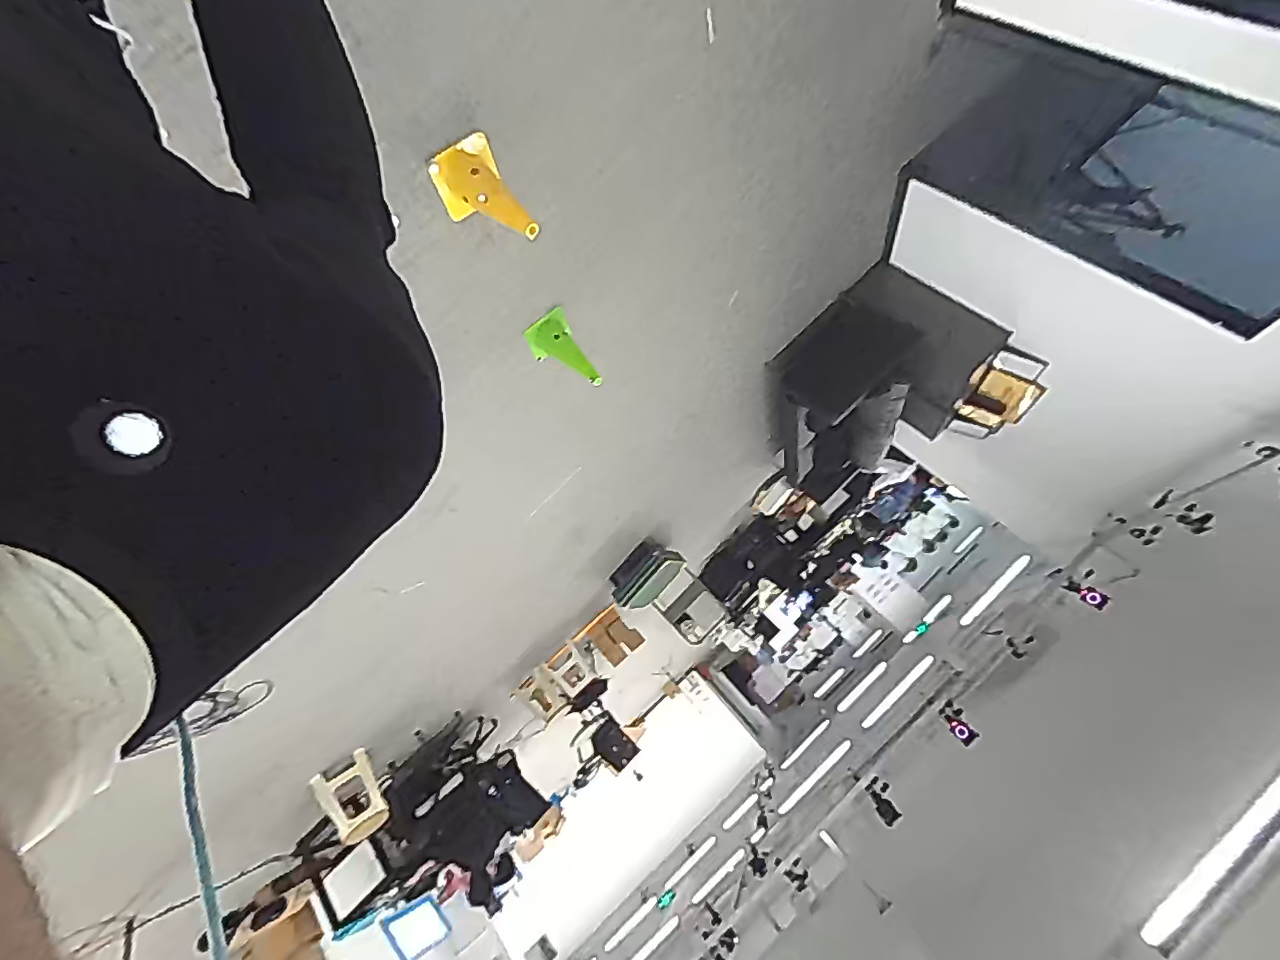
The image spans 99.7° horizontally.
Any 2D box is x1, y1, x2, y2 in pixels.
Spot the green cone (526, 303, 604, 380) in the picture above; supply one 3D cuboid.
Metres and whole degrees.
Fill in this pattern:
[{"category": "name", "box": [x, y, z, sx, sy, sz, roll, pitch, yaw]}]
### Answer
[{"category": "green cone", "box": [-0.272, -0.533, 2.252, 0.200, 0.368, 0.202, -42, 155, -9]}]
